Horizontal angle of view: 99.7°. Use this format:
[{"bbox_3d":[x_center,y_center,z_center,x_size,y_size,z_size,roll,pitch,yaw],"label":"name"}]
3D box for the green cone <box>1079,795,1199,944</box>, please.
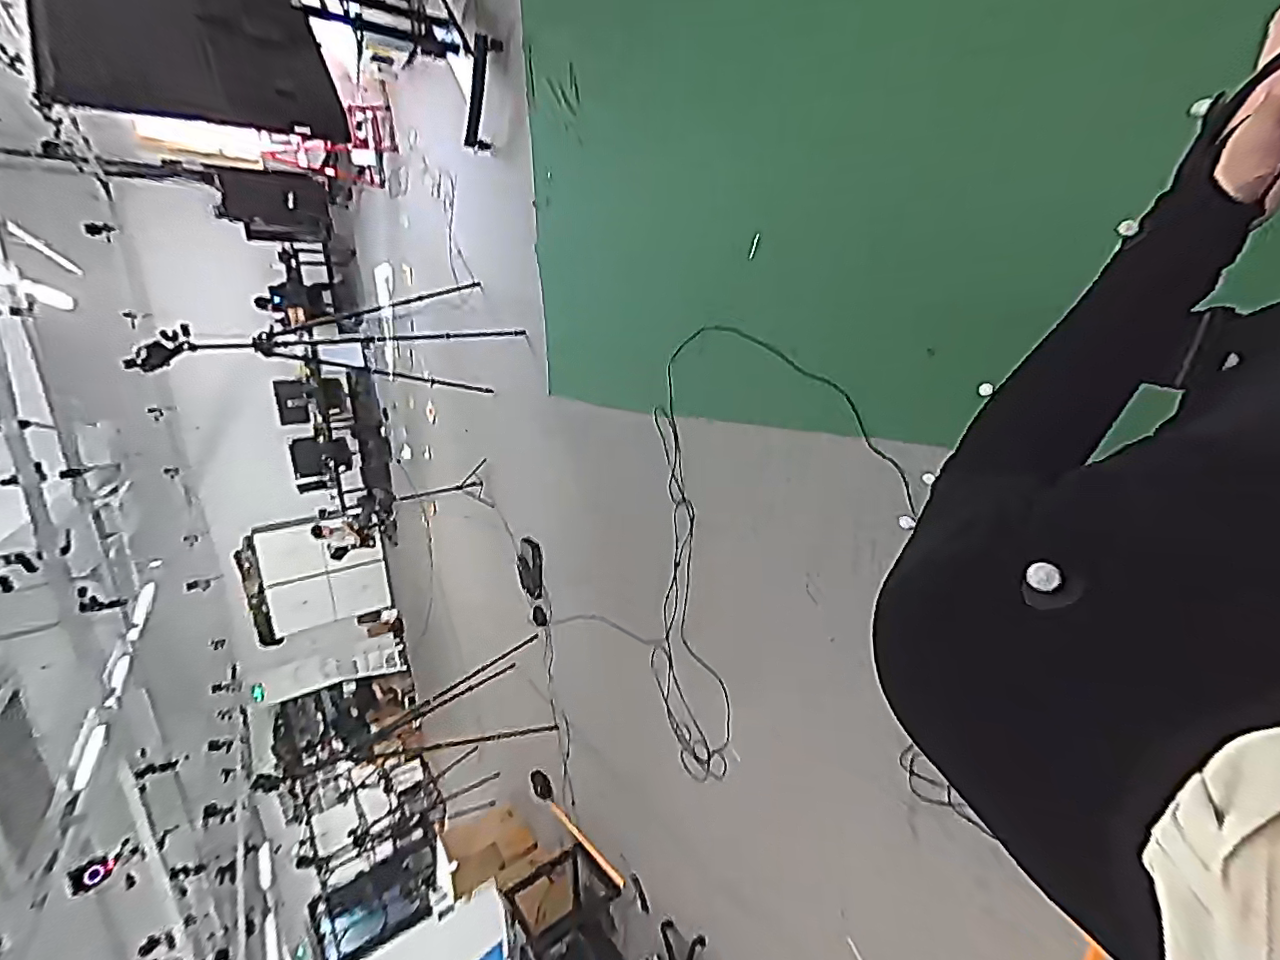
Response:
[{"bbox_3d":[1.133,0.963,1.280,0.202,0.368,0.200,18,113,51],"label":"green cone"}]
